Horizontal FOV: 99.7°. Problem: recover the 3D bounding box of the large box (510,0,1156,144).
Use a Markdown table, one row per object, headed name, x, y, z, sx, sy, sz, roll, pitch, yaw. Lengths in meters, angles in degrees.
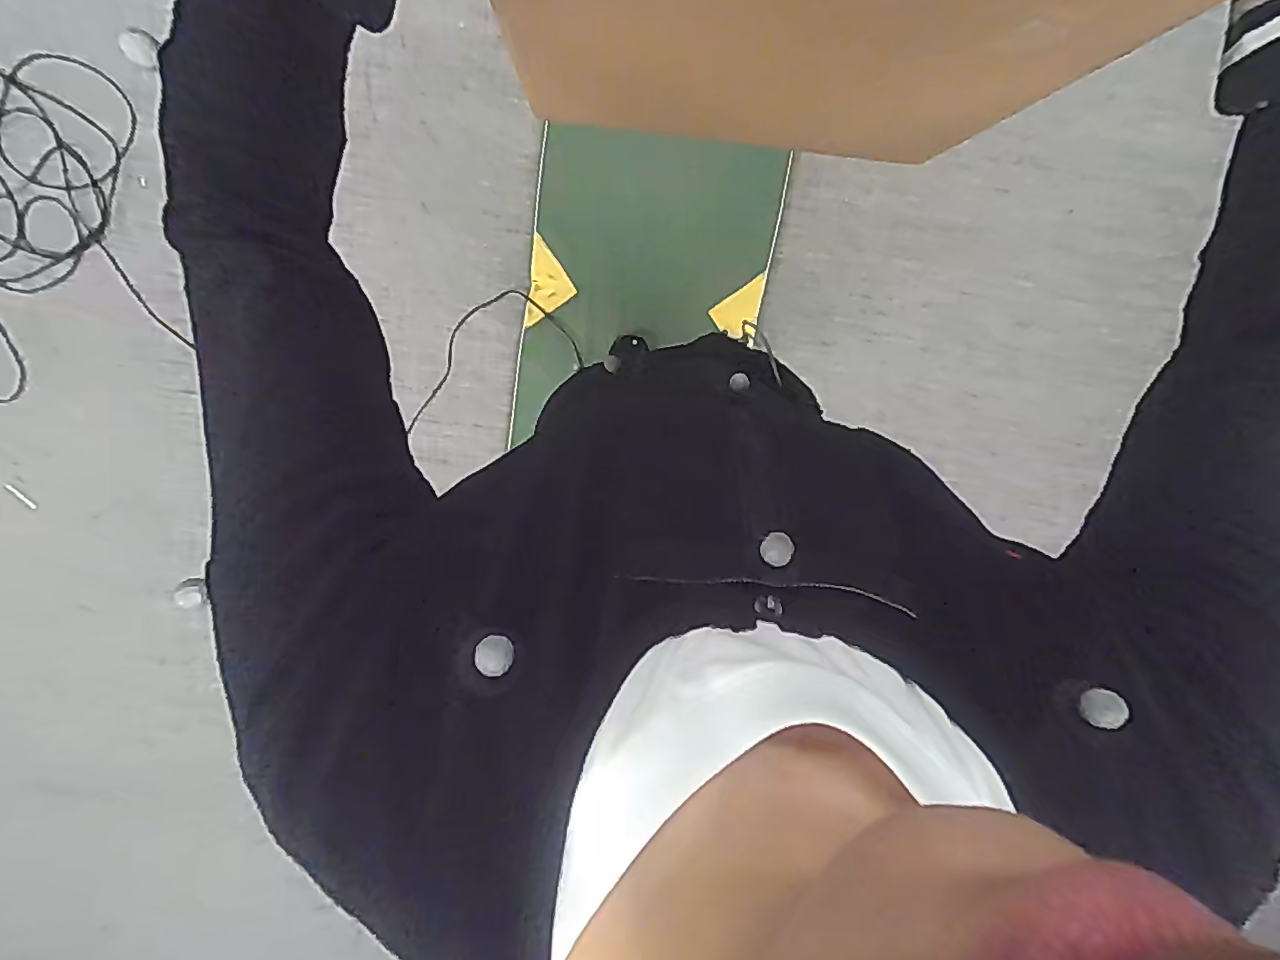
| name | x | y | z | sx | sy | sz | roll | pitch | yaw |
| --- | --- | --- | --- | --- | --- | --- | --- | --- | --- |
| large box | 0.114 | -0.461 | 0.365 | 0.408 | 0.320 | 0.320 | 3 | 106 | -5 |
